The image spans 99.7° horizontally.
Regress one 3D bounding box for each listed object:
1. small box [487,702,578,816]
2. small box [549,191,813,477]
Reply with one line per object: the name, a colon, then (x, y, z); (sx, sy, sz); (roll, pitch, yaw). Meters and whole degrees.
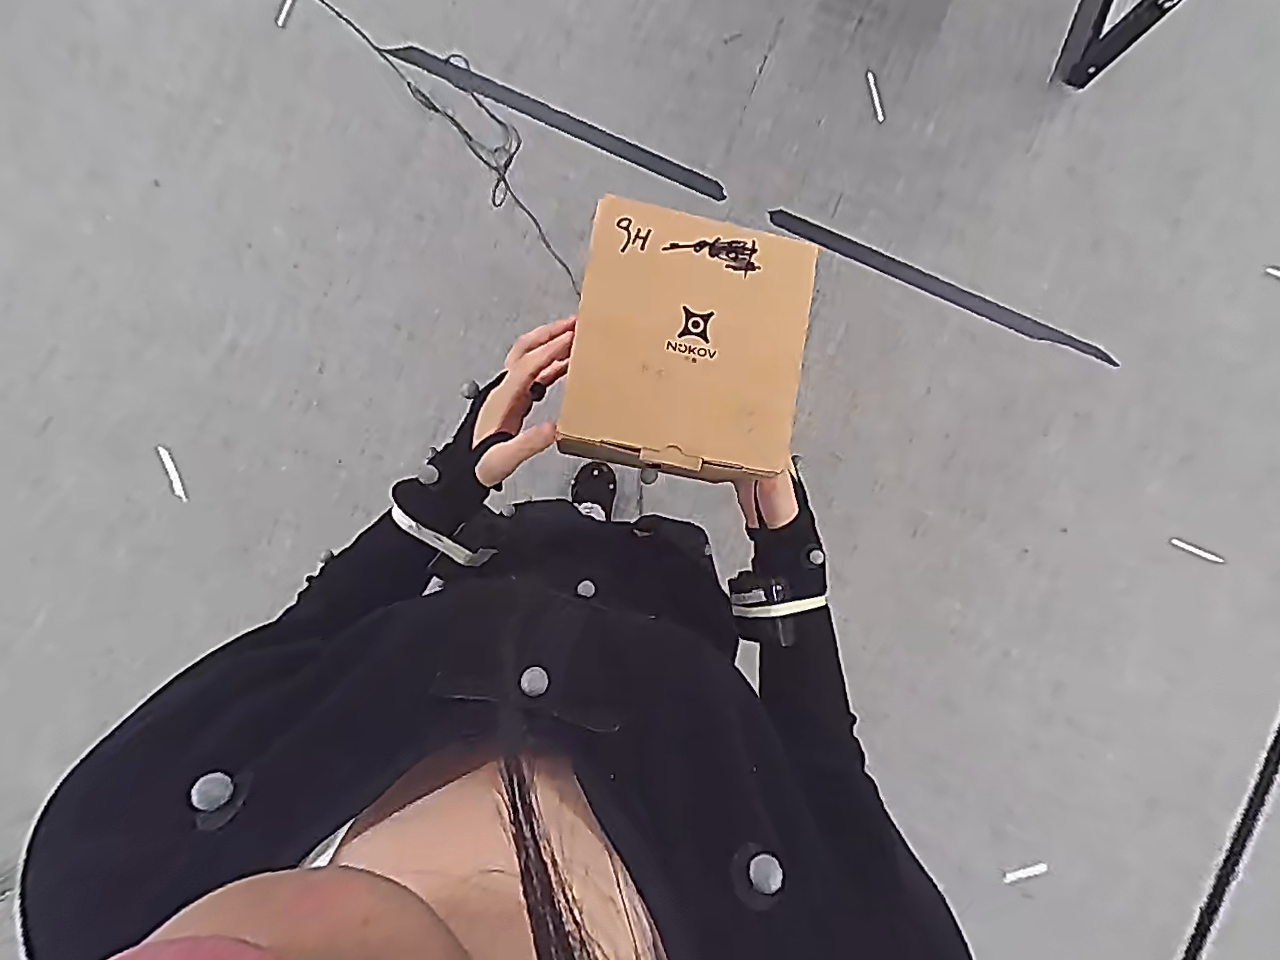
small box: (-0.271, 0.717, 1.409); (0.168, 0.176, 0.179); (25, 89, -2)
small box: (0.022, -0.101, 0.461); (0.168, 0.176, 0.179); (10, 88, -8)
